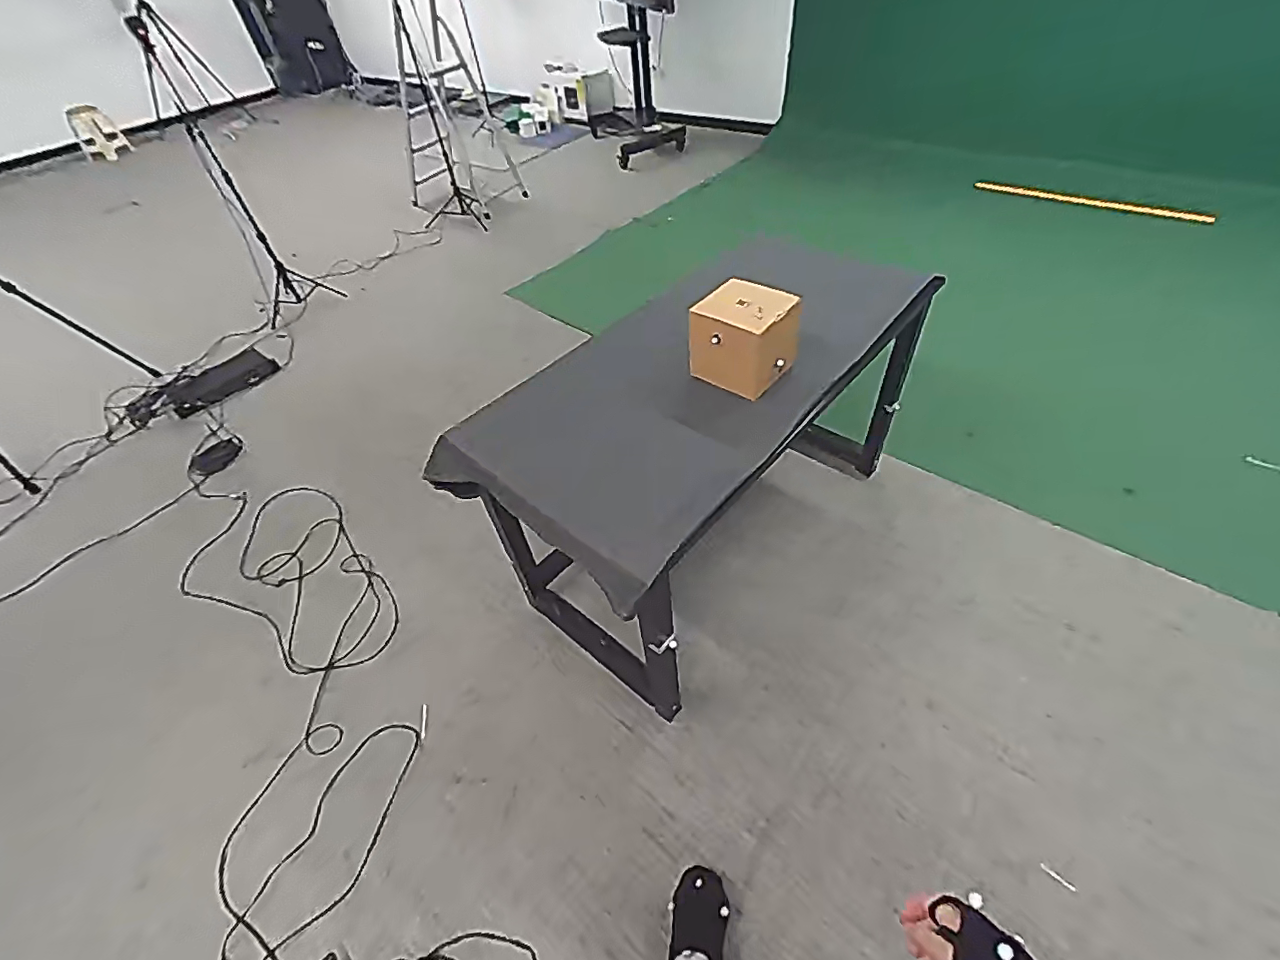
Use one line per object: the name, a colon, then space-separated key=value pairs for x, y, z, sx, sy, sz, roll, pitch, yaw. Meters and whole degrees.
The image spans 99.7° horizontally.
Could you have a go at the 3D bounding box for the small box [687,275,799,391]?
small box: x=0.222 y=-0.320 z=1.184 sx=0.179 sy=0.176 sz=0.168 roll=30 pitch=58 yaw=30
